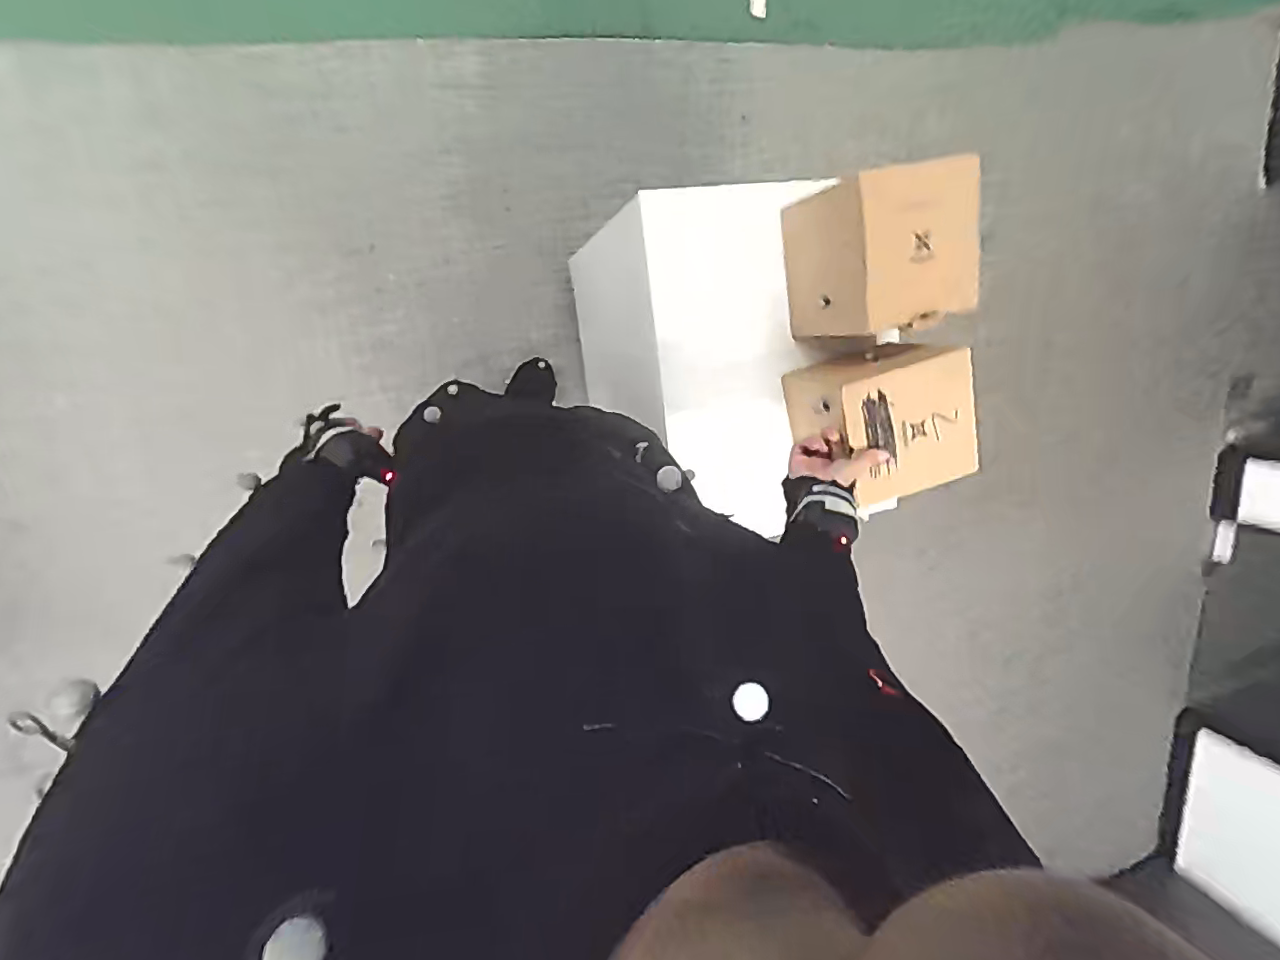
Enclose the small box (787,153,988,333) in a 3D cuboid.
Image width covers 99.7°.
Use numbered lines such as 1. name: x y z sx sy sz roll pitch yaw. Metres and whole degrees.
1. small box: 0.310 -0.292 0.696 0.168 0.176 0.179 -16 107 -14
